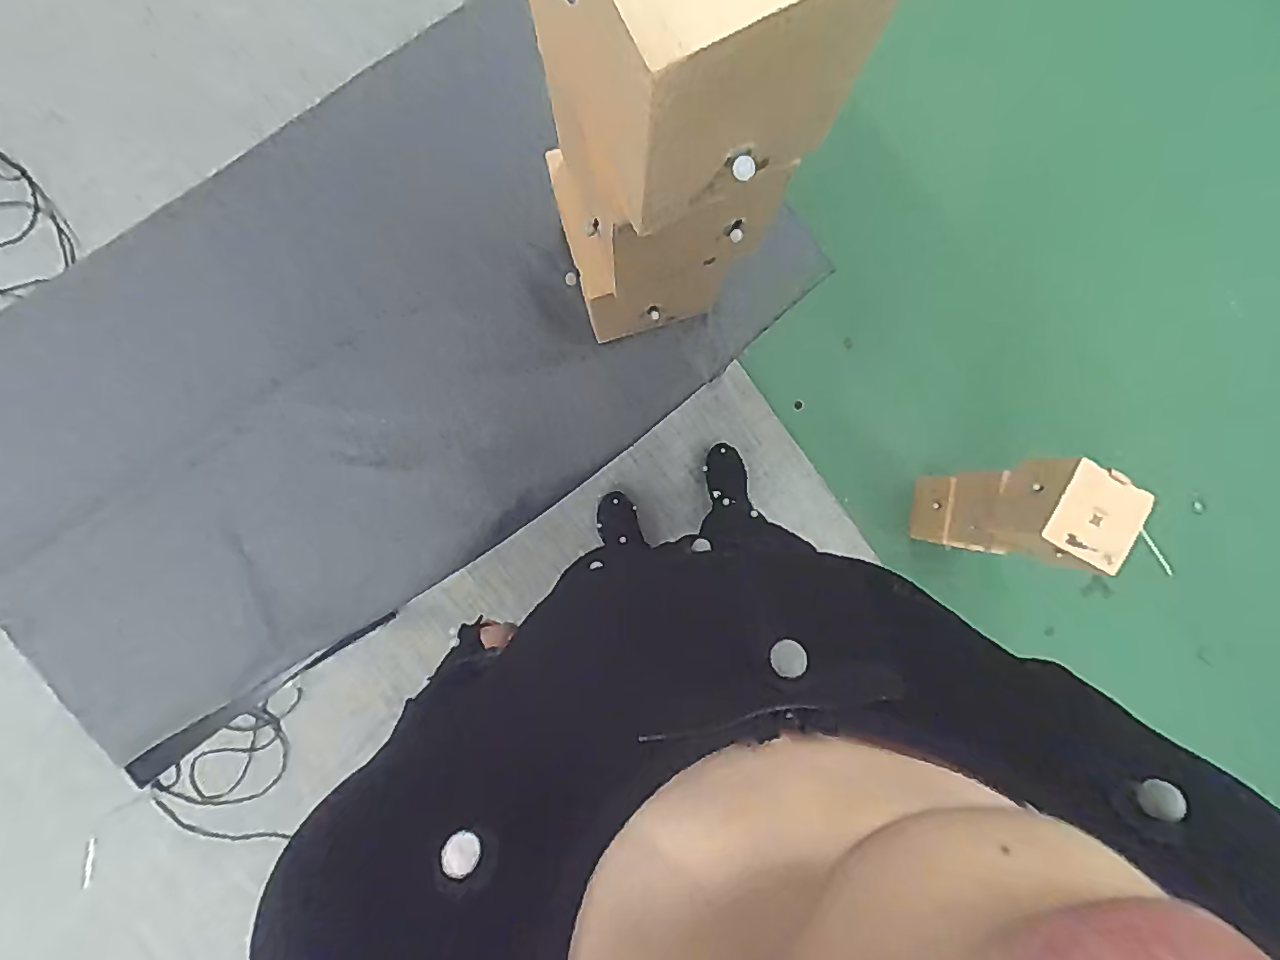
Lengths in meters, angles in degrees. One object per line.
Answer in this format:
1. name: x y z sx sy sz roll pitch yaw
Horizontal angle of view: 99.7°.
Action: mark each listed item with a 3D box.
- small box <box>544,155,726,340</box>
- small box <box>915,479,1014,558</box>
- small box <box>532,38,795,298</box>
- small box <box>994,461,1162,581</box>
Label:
1. small box: -0.005 -0.286 0.666 0.168 0.176 0.179 -16 88 -2
2. small box: 0.850 0.097 1.419 0.168 0.176 0.179 9 89 -1
3. small box: 0.019 -0.292 0.505 0.168 0.176 0.179 -21 88 -2
4. small box: 0.867 0.077 1.091 0.168 0.176 0.179 29 89 -1
